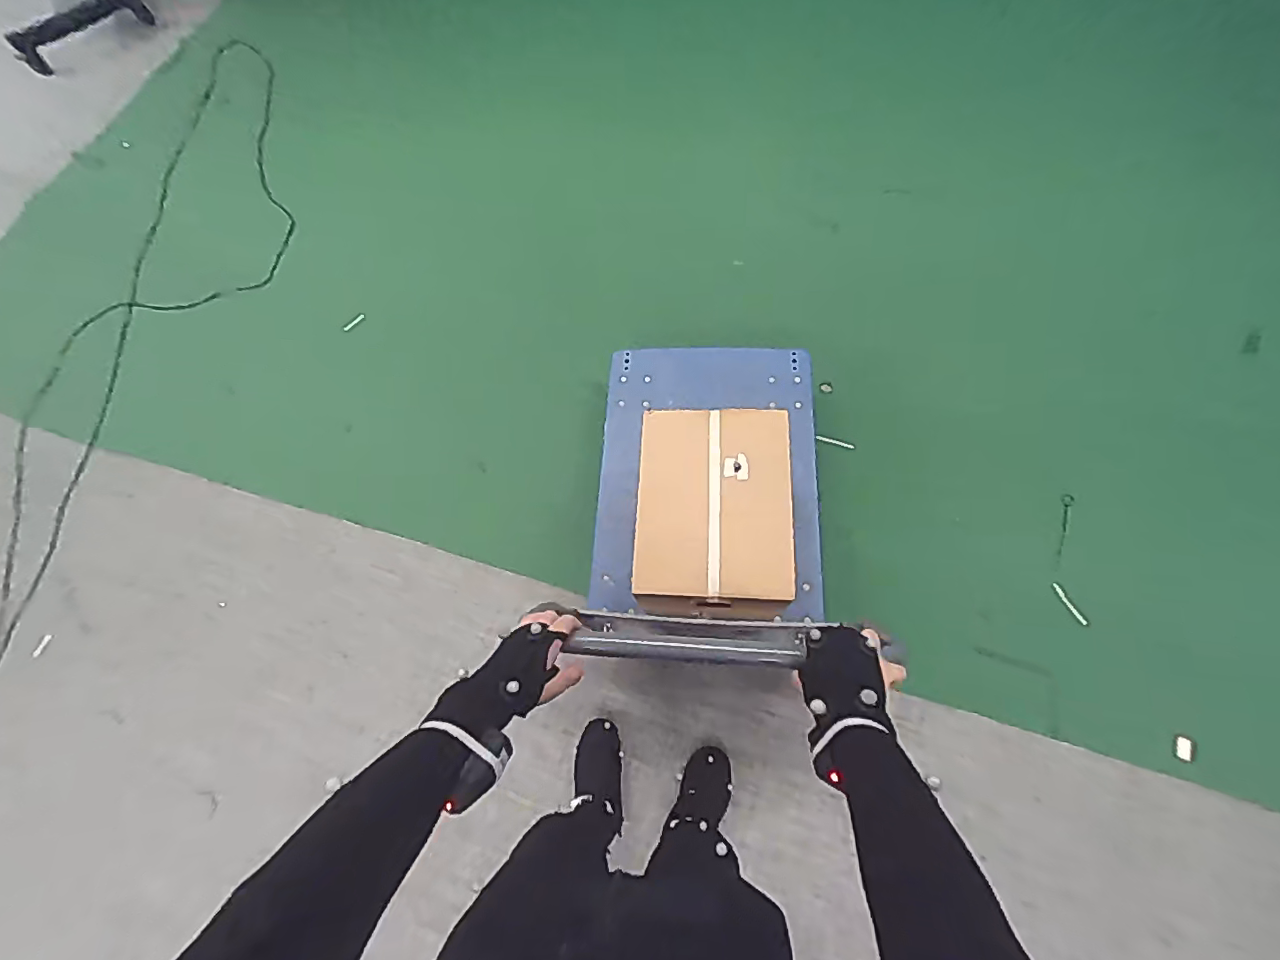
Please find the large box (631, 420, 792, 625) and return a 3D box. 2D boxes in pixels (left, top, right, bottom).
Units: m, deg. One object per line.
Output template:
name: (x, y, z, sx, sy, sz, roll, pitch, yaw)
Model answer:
large box: (0.162, 0.112, 1.250, 0.320, 0.320, 0.408, 1, 68, 7)
